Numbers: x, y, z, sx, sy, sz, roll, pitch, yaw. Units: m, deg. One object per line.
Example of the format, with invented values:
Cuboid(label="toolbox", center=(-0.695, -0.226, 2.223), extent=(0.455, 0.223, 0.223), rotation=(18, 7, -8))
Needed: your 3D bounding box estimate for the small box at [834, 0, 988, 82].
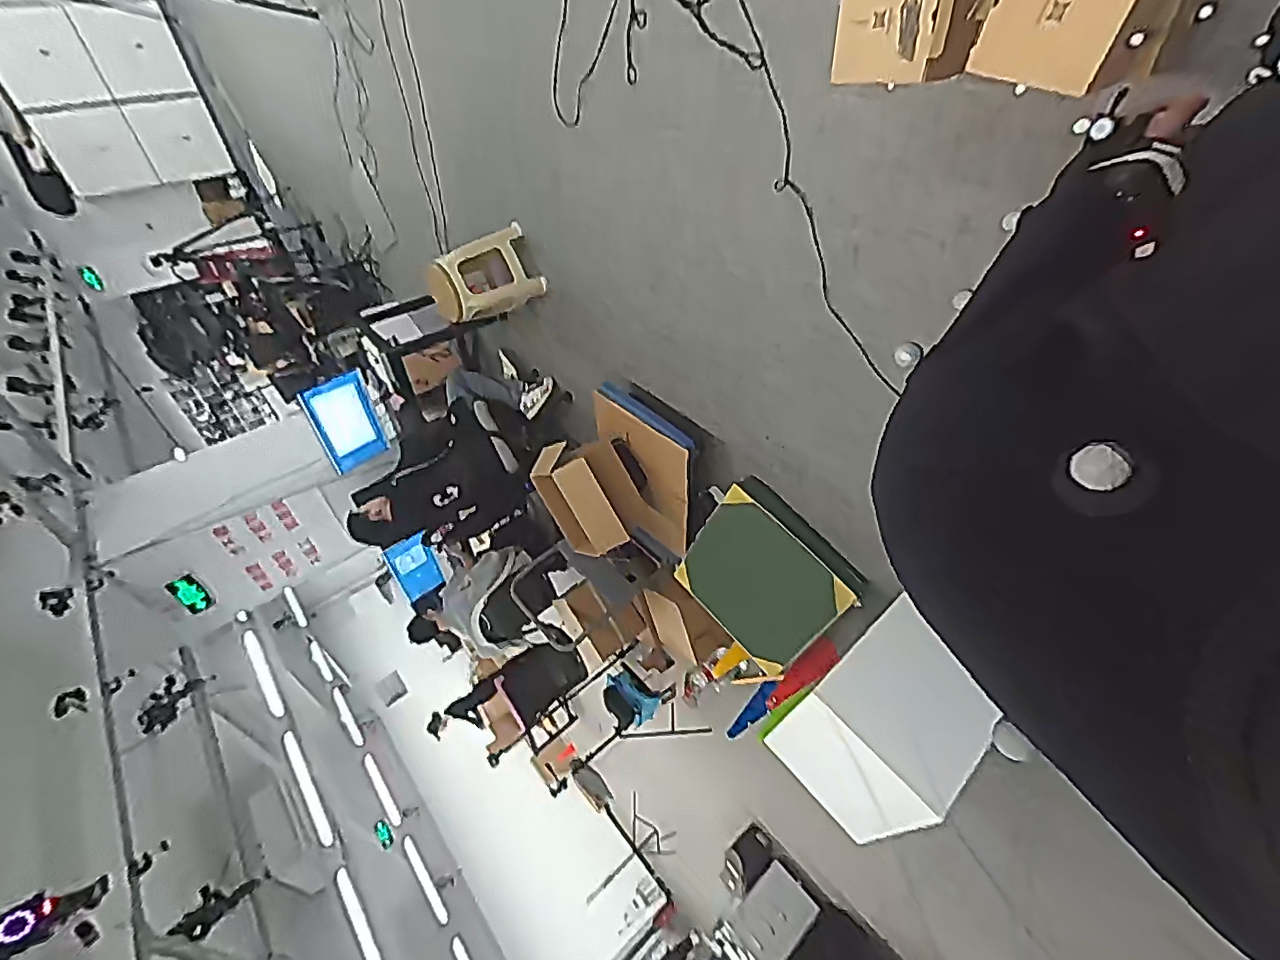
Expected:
Cuboid(label="small box", center=(0.457, -0.775, 0.900), extent=(0.179, 0.176, 0.168), rotation=(35, 144, 38))

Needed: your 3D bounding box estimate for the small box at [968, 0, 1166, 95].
Cuboid(label="small box", center=(0.618, -0.669, 0.757), extent=(0.179, 0.176, 0.168), rotation=(42, 149, 29))
